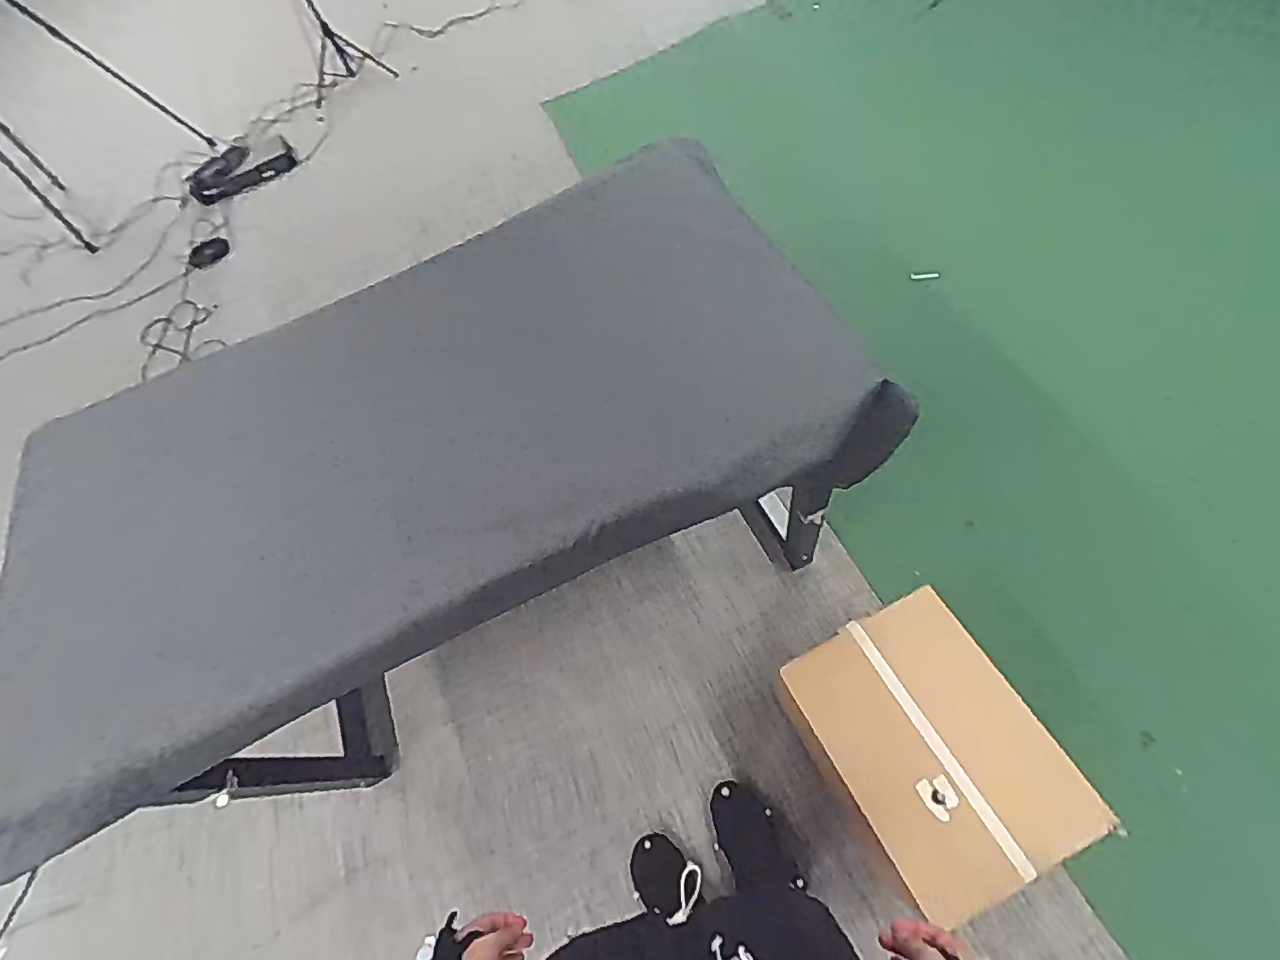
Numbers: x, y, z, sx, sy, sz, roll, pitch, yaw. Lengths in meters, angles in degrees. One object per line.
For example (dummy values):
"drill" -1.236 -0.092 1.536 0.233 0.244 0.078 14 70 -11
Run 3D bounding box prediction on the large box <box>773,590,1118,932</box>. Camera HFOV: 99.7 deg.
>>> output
"large box" 0.488 0.478 0.985 0.320 0.320 0.408 -29 61 -4
